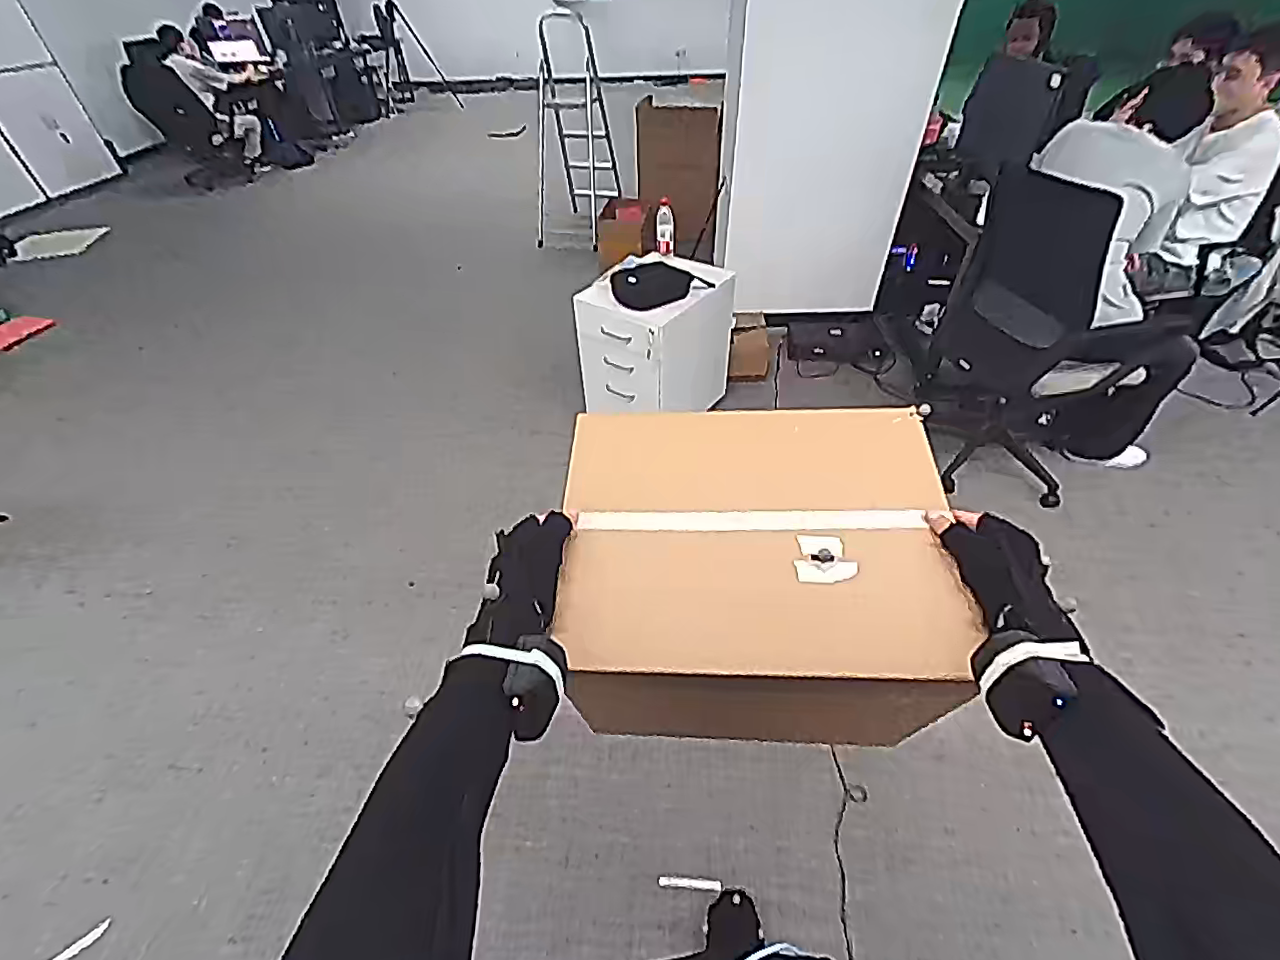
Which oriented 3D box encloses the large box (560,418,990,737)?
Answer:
[{"bbox_3d":[0.133,0.139,0.705,0.408,0.320,0.320,-1,55,5],"label":"large box"}]
